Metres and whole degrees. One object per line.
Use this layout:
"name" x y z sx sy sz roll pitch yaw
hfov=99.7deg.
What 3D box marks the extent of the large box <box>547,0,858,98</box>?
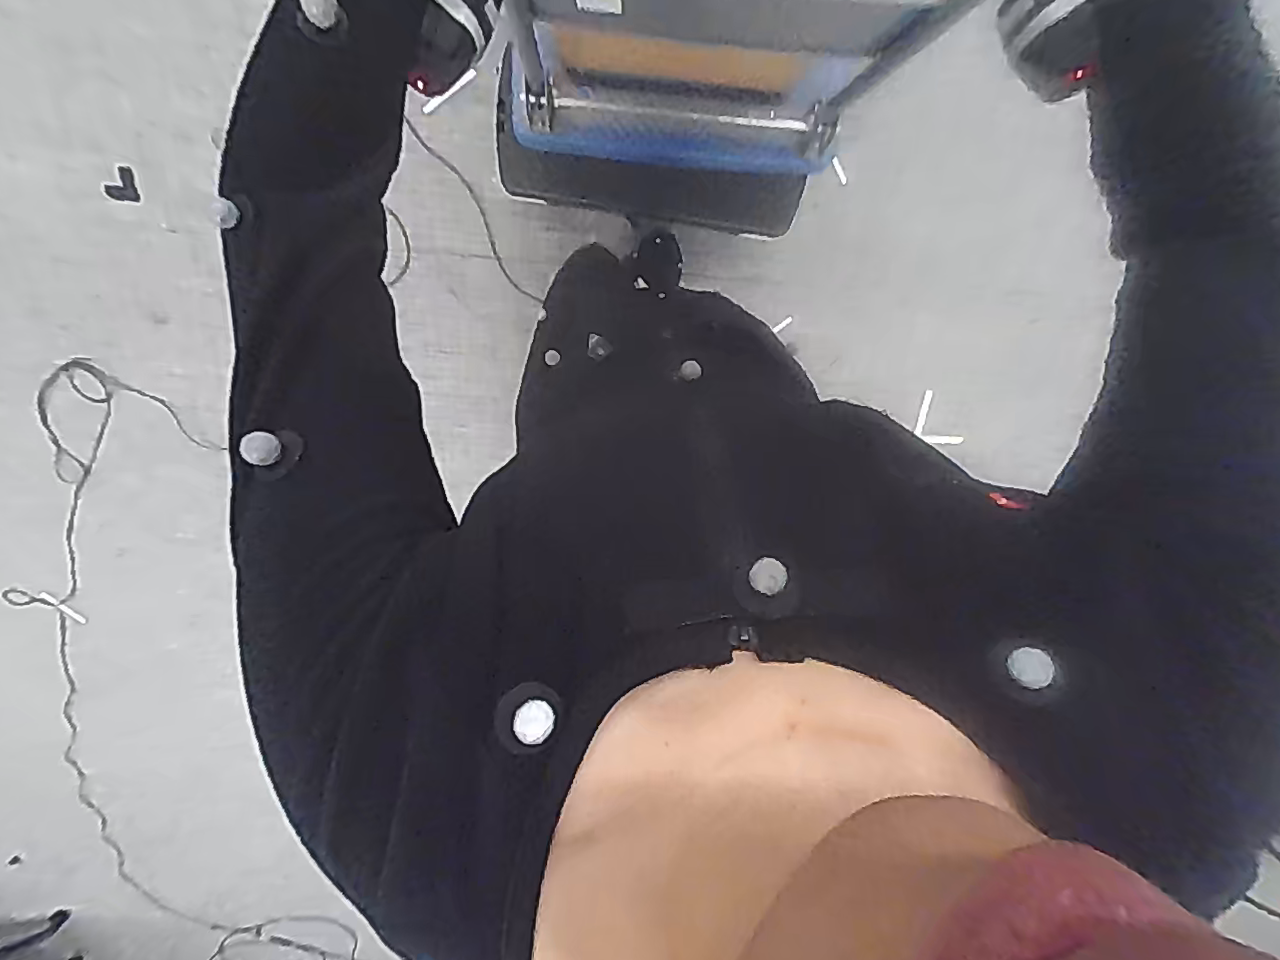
"large box" 0.075 -0.777 0.742 0.408 0.320 0.320 2 104 -6
